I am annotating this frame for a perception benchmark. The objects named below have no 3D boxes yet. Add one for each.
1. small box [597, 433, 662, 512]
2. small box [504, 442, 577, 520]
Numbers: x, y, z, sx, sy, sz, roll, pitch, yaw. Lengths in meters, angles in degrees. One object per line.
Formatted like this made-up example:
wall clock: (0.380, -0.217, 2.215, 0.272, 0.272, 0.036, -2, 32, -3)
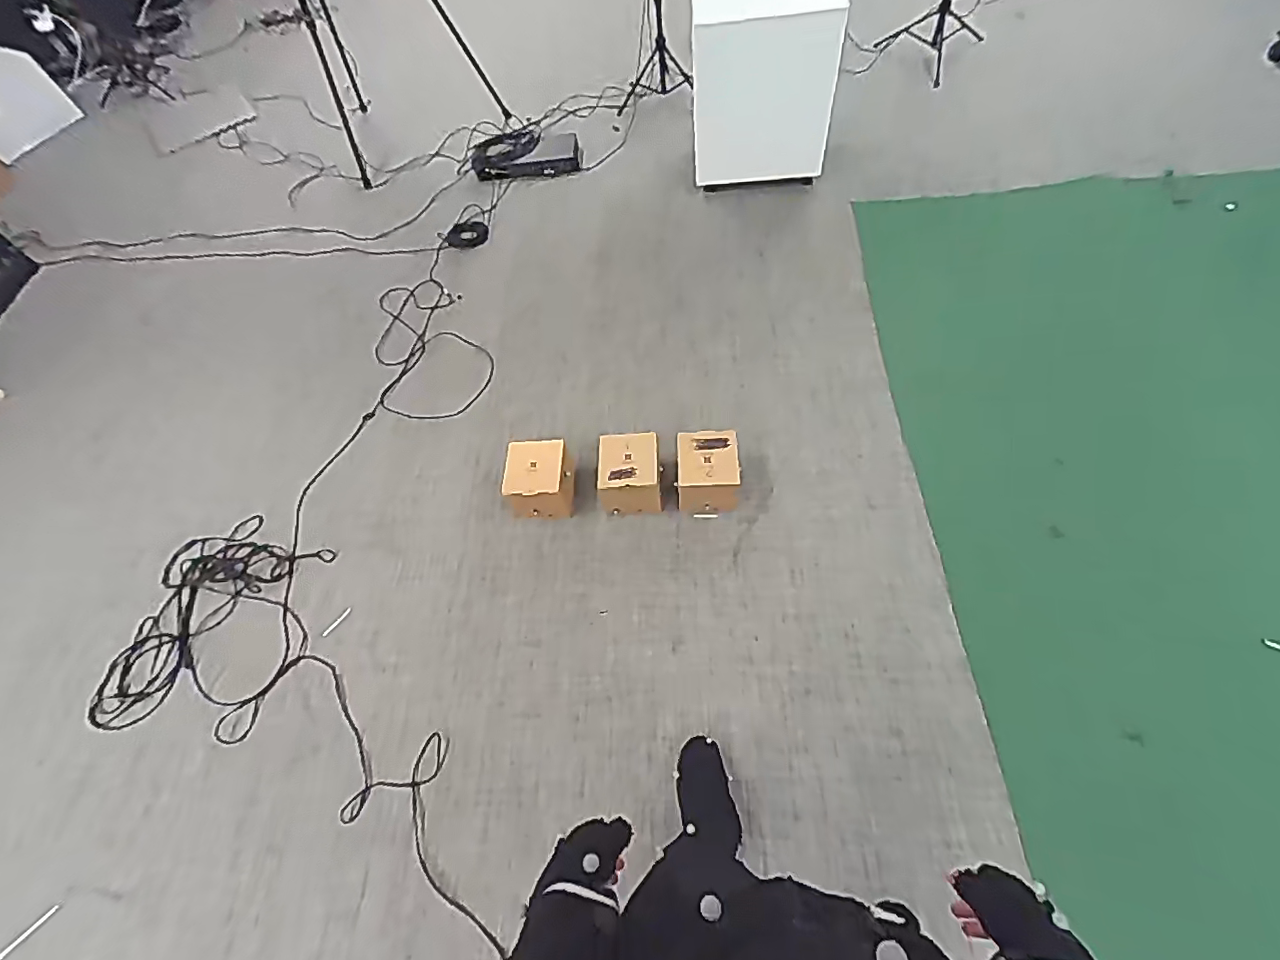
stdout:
small box: (-0.025, -0.014, 1.581, 0.168, 0.176, 0.179, -4, 59, 7)
small box: (-0.289, 0.005, 1.610, 0.168, 0.176, 0.179, -3, 60, 7)
